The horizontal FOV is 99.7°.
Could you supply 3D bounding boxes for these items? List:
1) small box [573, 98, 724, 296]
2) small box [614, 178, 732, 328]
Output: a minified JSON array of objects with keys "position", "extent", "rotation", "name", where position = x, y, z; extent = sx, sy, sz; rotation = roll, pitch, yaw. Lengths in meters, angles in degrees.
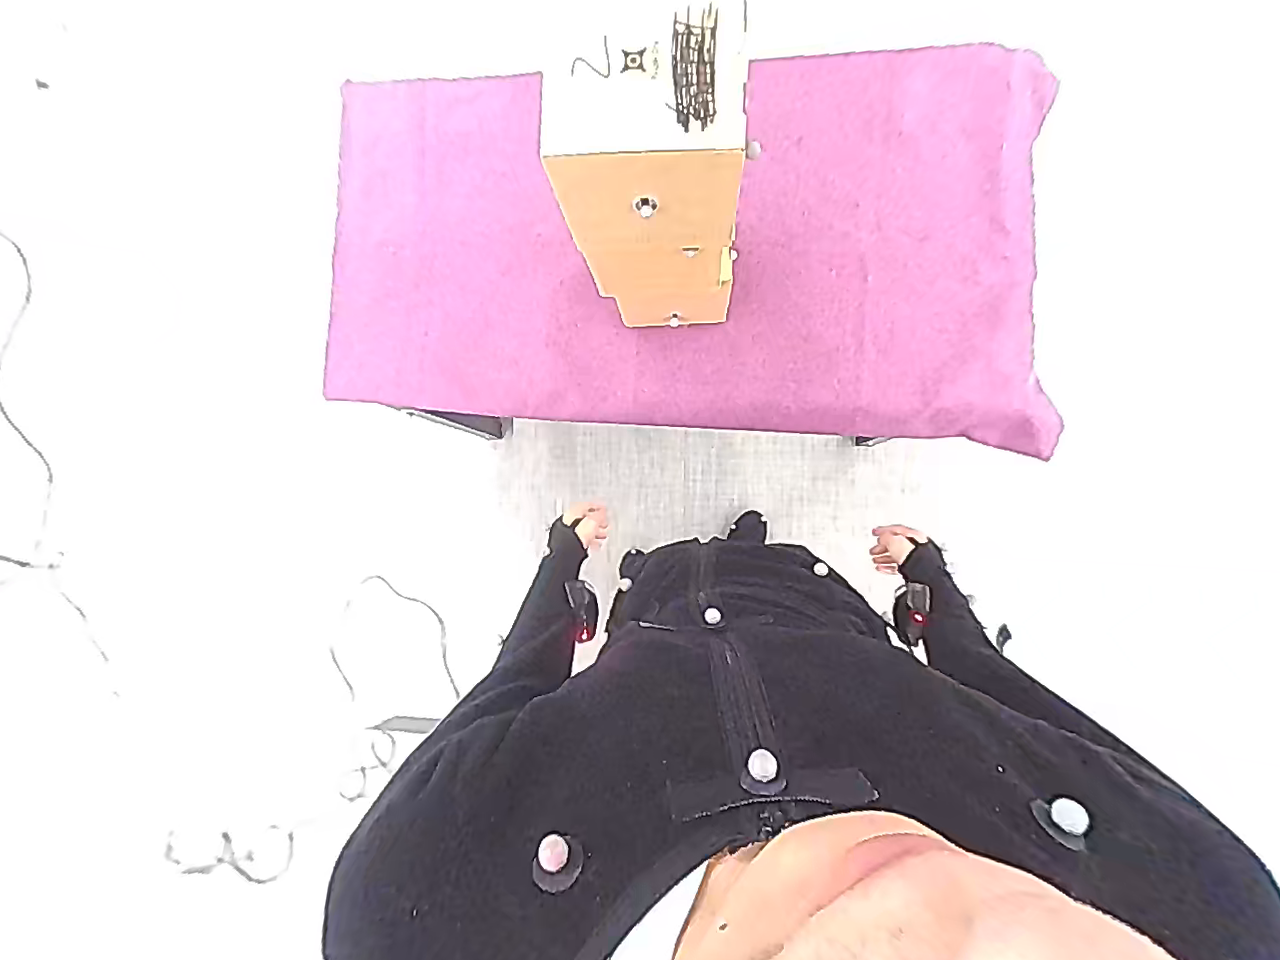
[{"position":[0.017,-0.351,0.703],"extent":[0.179,0.176,0.168],"rotation":[-1,86,5],"name":"small box"},{"position":[0.050,-0.351,0.864],"extent":[0.179,0.176,0.168],"rotation":[-1,85,4],"name":"small box"}]
